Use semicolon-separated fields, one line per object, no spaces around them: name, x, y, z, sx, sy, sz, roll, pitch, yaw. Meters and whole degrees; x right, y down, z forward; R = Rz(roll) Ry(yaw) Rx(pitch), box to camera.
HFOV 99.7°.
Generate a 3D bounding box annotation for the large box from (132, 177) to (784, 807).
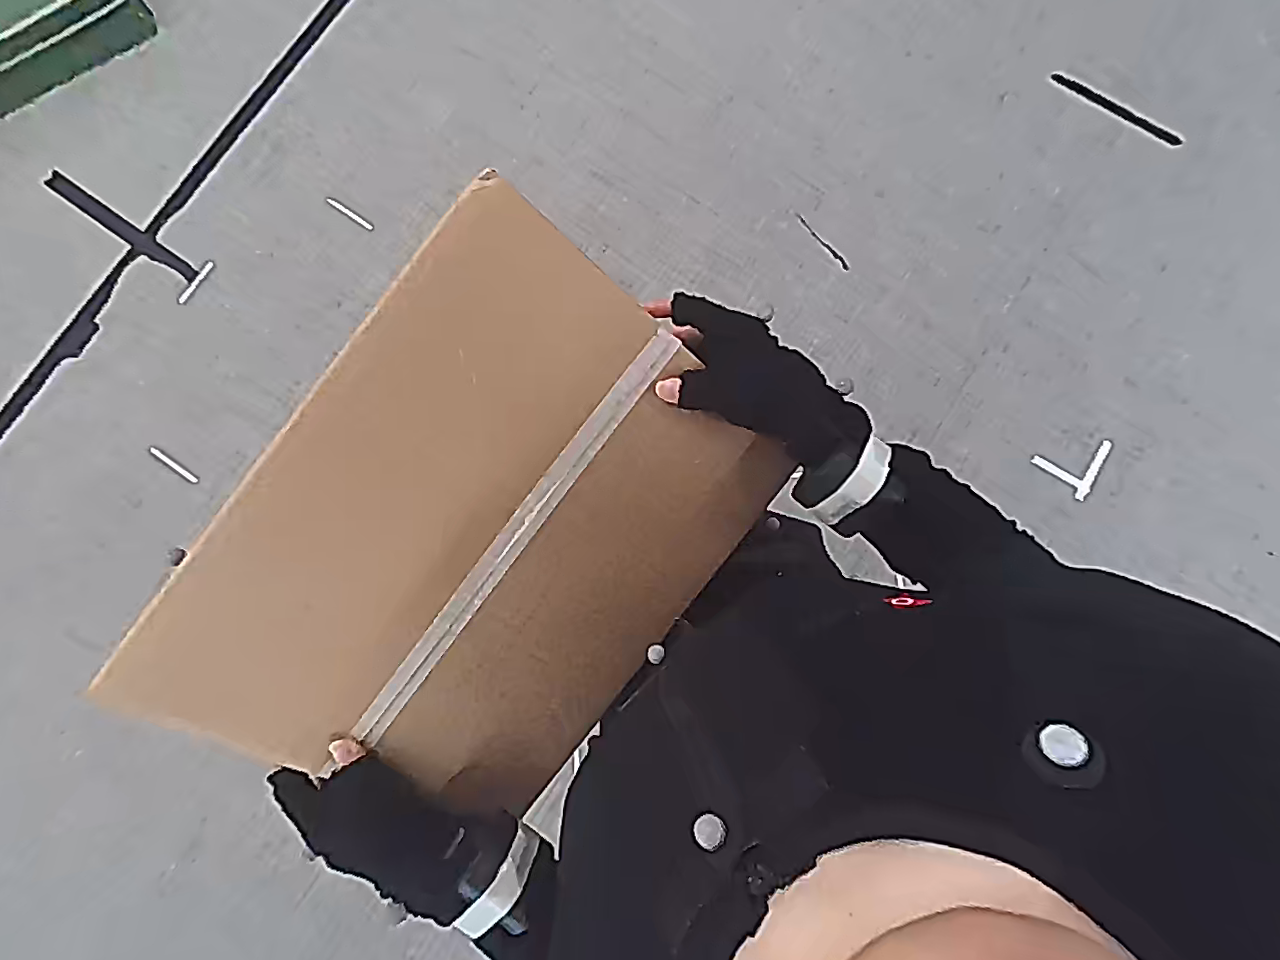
large box;-0.150;0.009;0.540;0.320;0.320;0.408;37;92;-25
